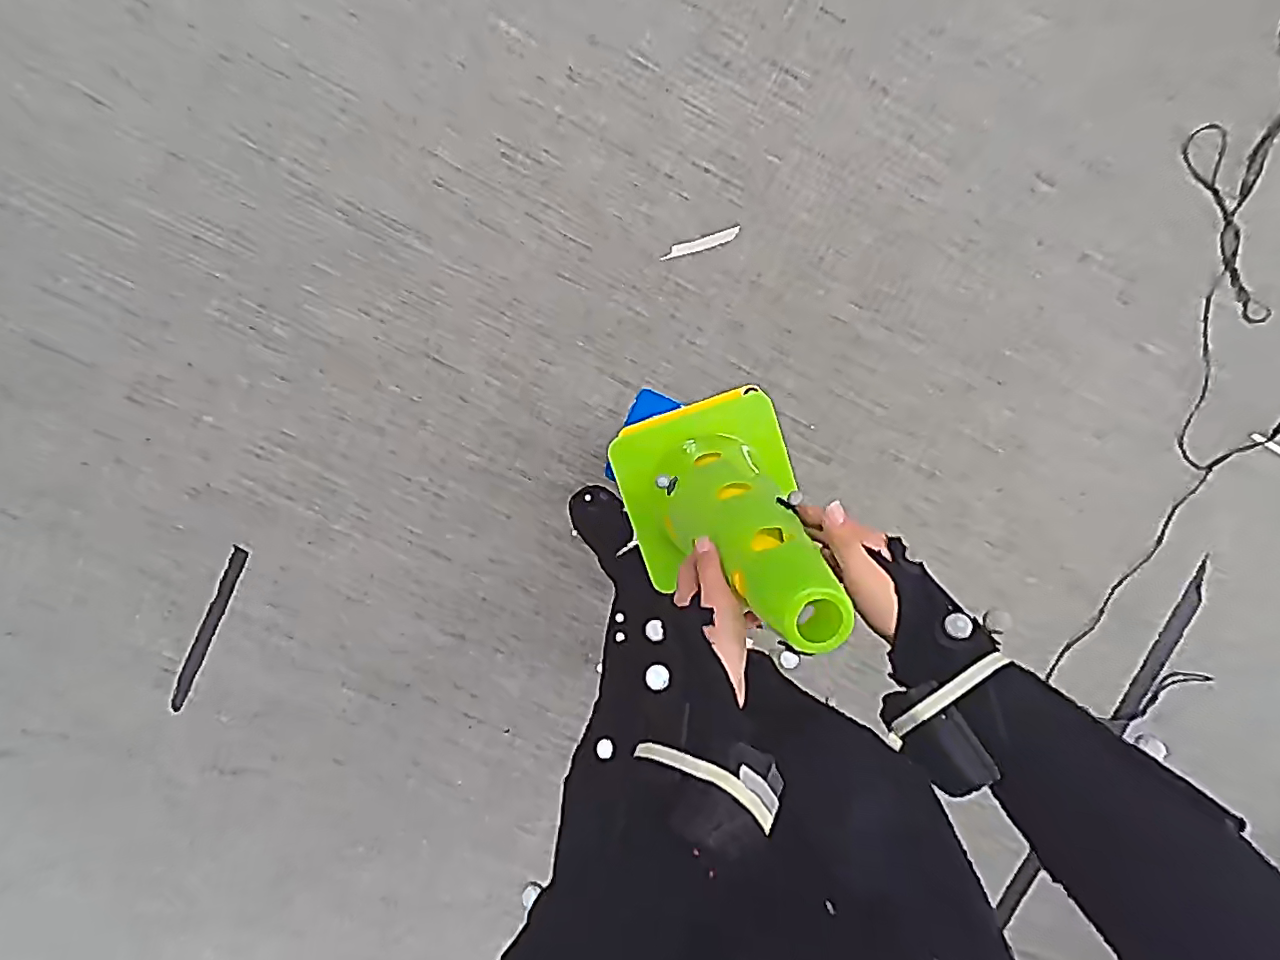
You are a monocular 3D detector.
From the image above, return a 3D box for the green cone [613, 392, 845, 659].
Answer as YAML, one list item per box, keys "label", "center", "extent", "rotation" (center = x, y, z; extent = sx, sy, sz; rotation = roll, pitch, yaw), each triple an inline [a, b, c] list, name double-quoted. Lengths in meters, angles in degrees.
- label: "green cone"
  center: [0.091, 0.043, 0.460]
  extent: [0.202, 0.368, 0.200]
  rotation: [-19, 99, 2]
